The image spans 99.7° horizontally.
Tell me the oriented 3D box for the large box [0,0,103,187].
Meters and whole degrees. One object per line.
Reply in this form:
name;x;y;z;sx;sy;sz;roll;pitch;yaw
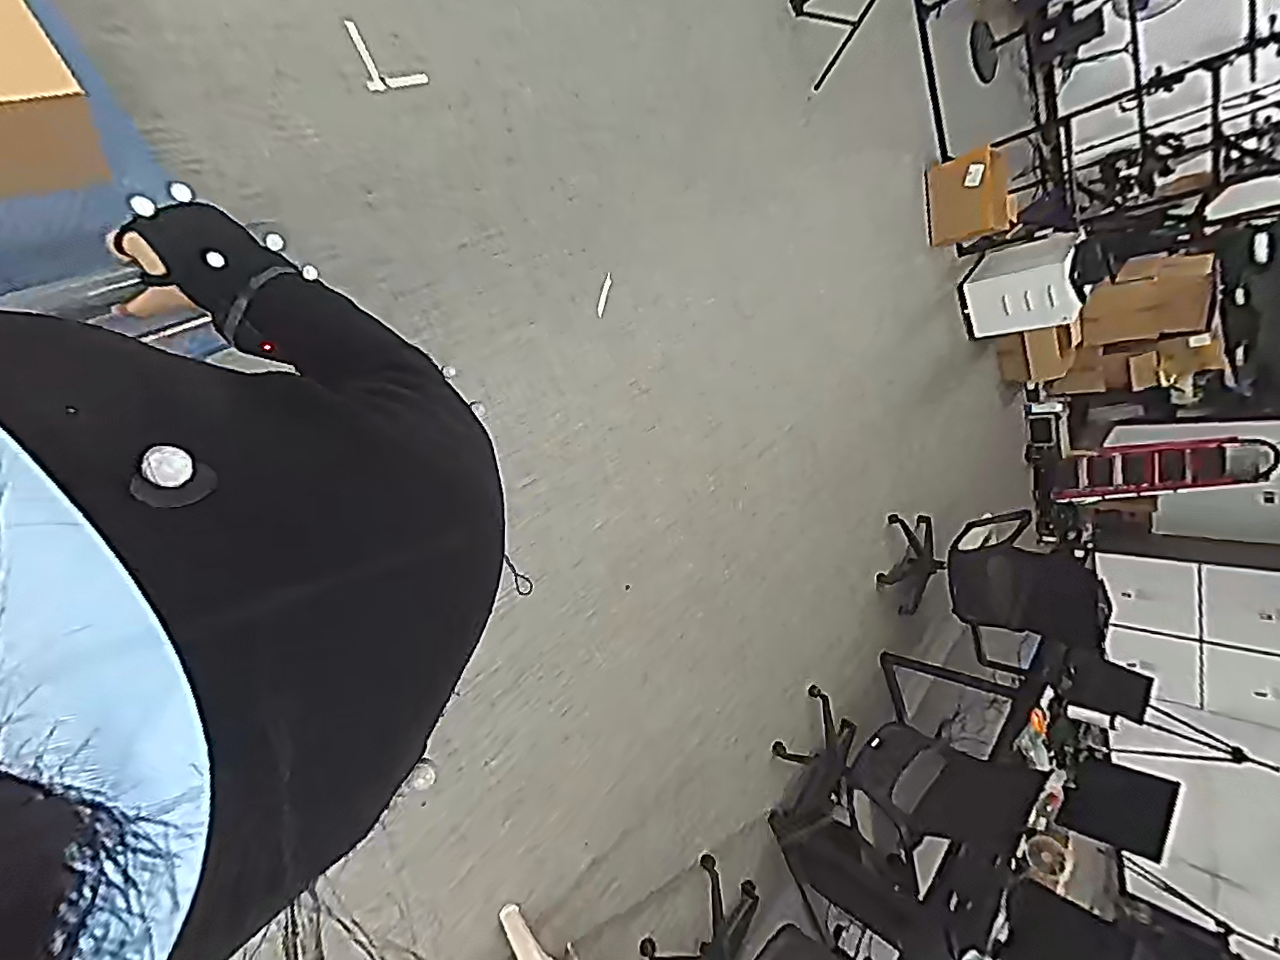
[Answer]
large box;-1.048;-0.573;0.691;0.408;0.320;0.320;-37;114;-31
